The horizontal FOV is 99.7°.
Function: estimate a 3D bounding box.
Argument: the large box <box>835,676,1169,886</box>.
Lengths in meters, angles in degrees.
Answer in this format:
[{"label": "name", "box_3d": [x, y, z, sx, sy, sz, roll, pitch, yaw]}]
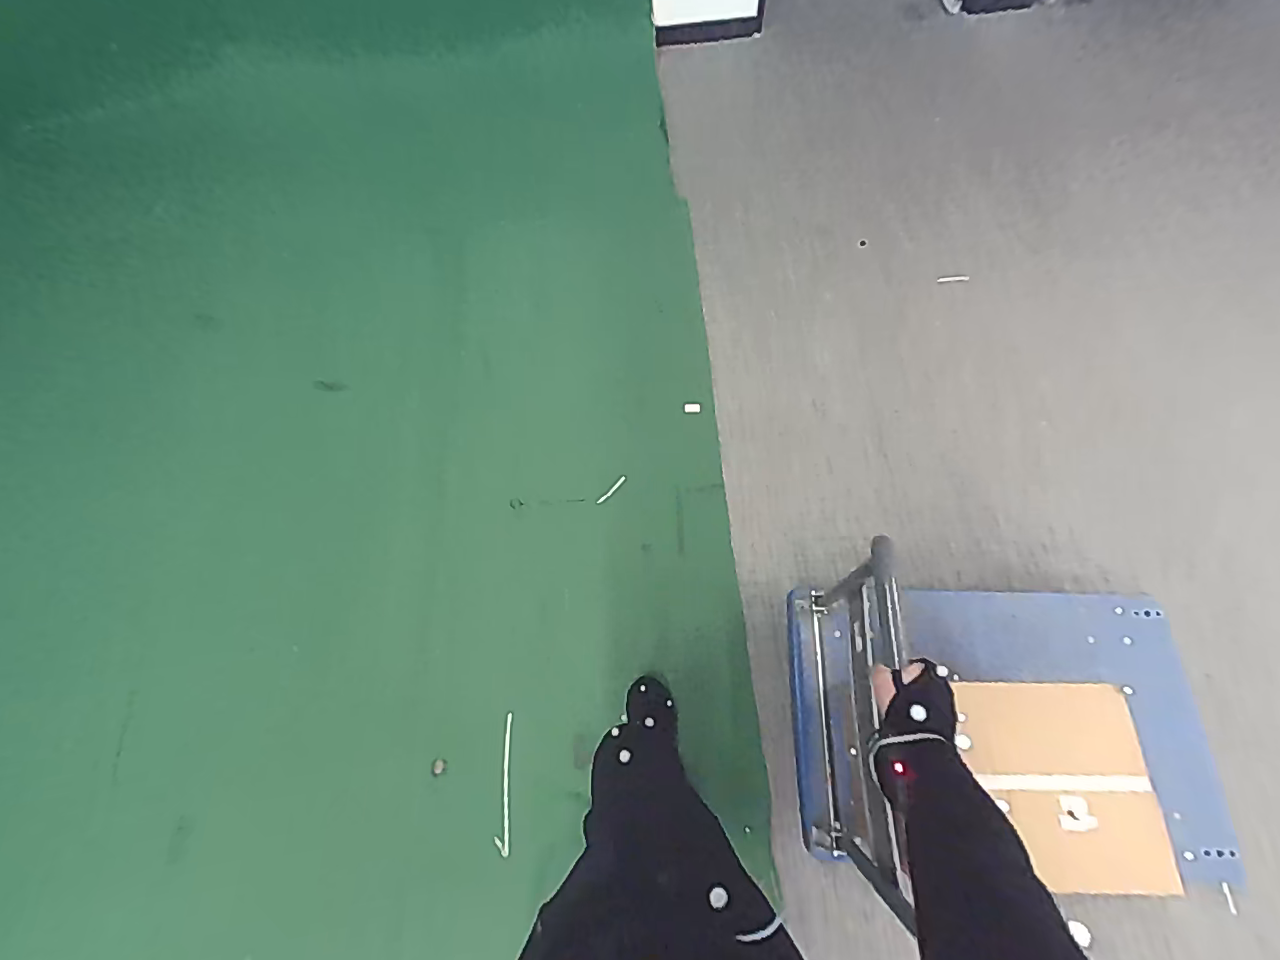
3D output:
[{"label": "large box", "box_3d": [0.641, 0.554, 1.050, 0.408, 0.320, 0.320, 0, 69, 2]}]
